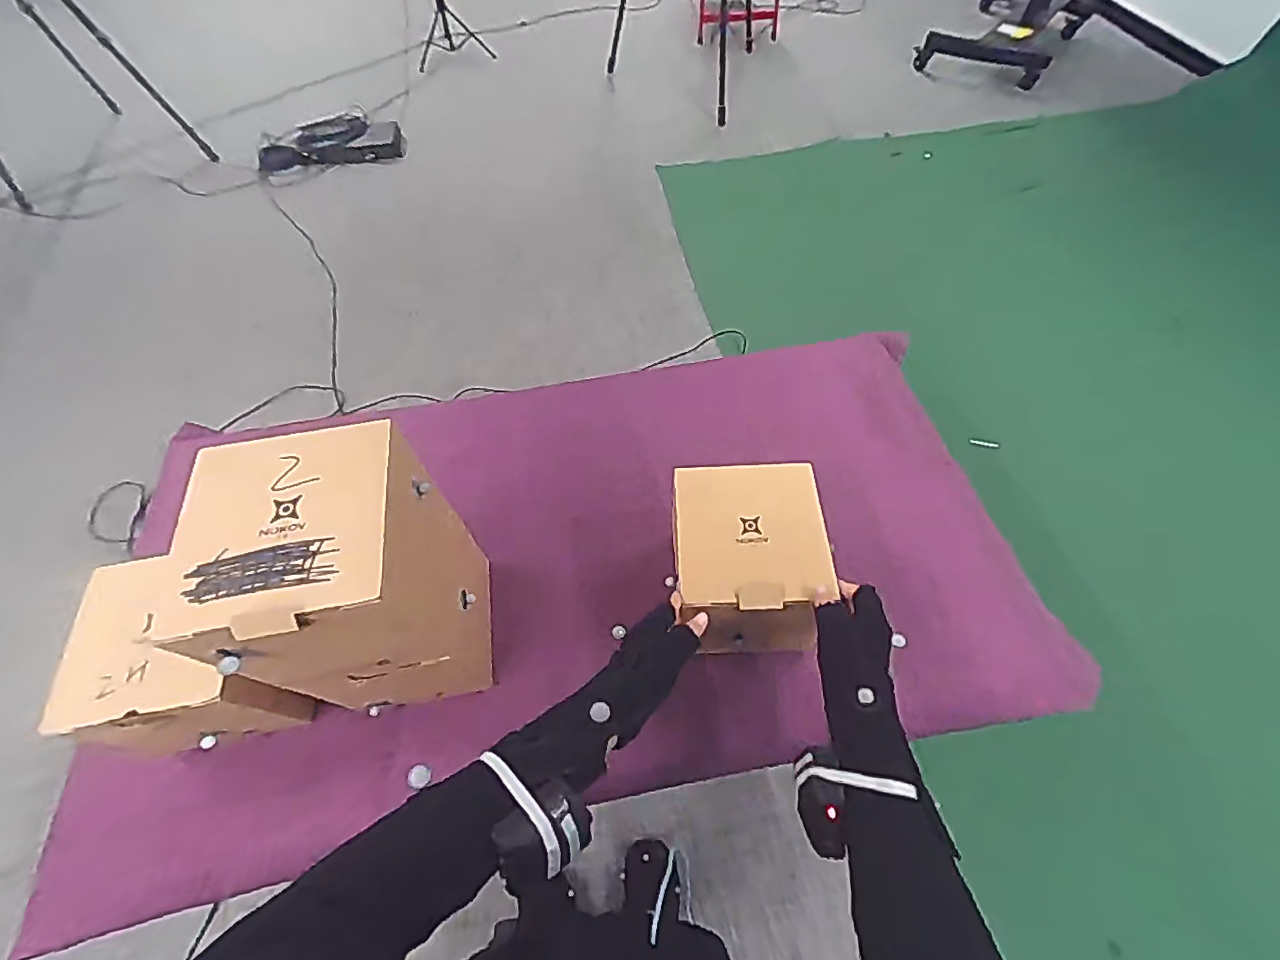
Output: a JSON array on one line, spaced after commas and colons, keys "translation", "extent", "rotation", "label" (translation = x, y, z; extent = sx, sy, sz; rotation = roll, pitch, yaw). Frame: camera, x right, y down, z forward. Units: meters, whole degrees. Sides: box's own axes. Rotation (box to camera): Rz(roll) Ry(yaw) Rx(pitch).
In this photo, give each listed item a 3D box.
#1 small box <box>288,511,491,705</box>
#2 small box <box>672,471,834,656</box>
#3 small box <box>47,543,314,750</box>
[{"translation": [-0.281, 0.162, 0.651], "extent": [0.168, 0.176, 0.179], "rotation": [-9, 58, -5], "label": "small box"}, {"translation": [0.124, 0.106, 0.672], "extent": [0.168, 0.176, 0.179], "rotation": [-1, 56, 2], "label": "small box"}, {"translation": [-0.498, 0.198, 0.631], "extent": [0.168, 0.176, 0.179], "rotation": [-10, 59, -5], "label": "small box"}]
